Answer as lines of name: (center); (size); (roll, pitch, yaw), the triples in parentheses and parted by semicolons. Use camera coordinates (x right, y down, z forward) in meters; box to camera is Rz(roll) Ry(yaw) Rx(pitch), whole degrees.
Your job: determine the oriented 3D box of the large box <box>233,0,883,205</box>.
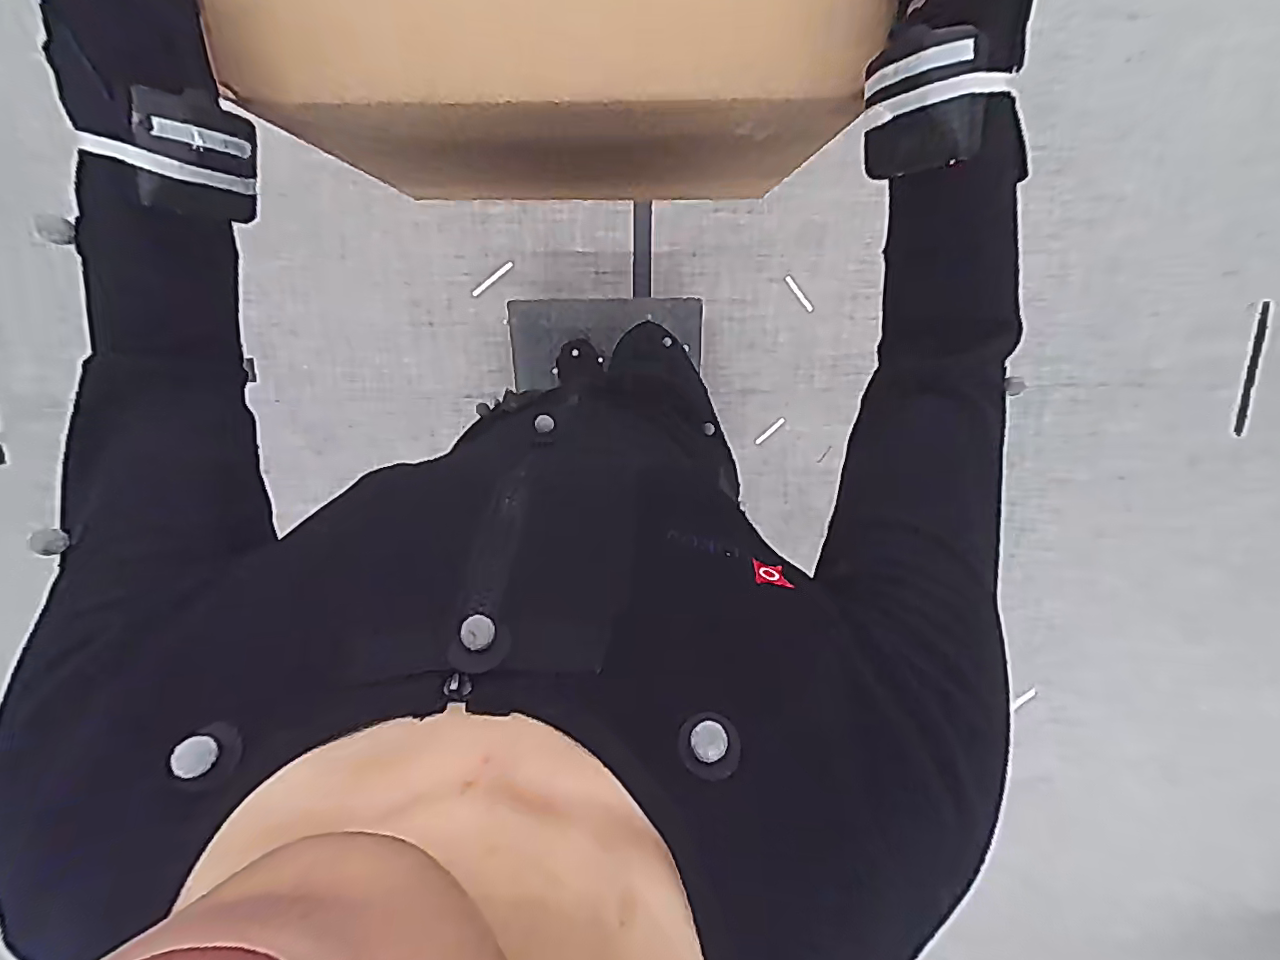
large box: (-0.055, -0.431, 0.444); (0.408, 0.320, 0.320); (-2, 107, -1)
